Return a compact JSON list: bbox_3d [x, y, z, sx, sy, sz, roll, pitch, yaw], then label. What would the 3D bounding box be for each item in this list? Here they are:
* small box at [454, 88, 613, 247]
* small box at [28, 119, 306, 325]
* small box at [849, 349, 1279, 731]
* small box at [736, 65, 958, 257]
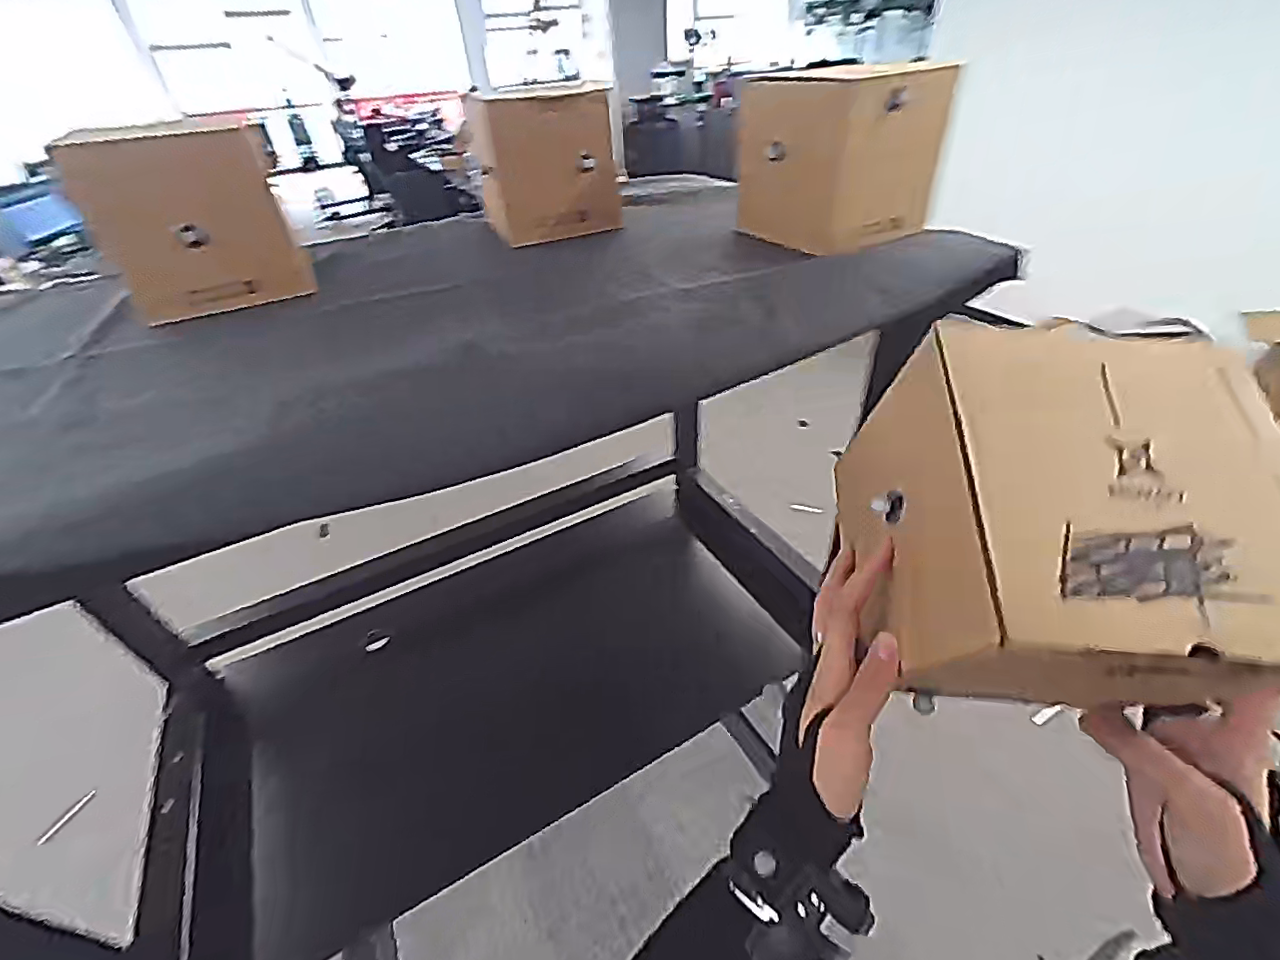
[{"bbox_3d":[-0.145,-0.437,0.758,0.168,0.176,0.179,-18,40,-17],"label":"small box"},{"bbox_3d":[-0.497,-0.287,0.602,0.168,0.176,0.179,-22,42,-22],"label":"small box"},{"bbox_3d":[0.241,0.048,0.327,0.168,0.176,0.179,5,63,1],"label":"small box"},{"bbox_3d":[0.227,-0.379,0.643,0.168,0.176,0.179,-23,41,-20],"label":"small box"}]
